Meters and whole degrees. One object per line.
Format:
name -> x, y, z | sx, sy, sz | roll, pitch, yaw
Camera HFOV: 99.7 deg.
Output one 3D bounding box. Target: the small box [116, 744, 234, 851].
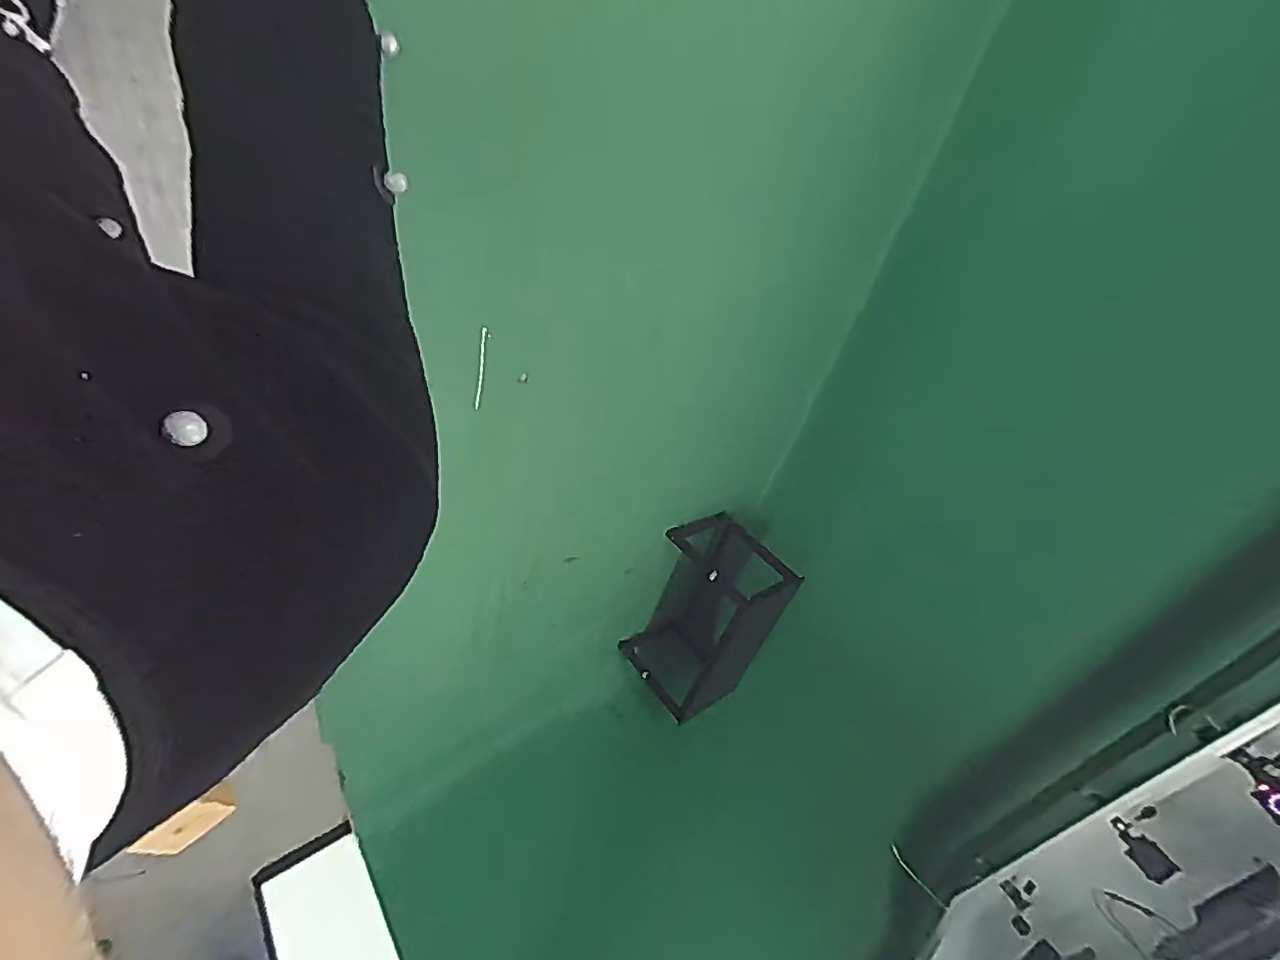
small box -> -1.245, 0.848, 1.448 | 0.179, 0.176, 0.168 | -36, 146, -16
